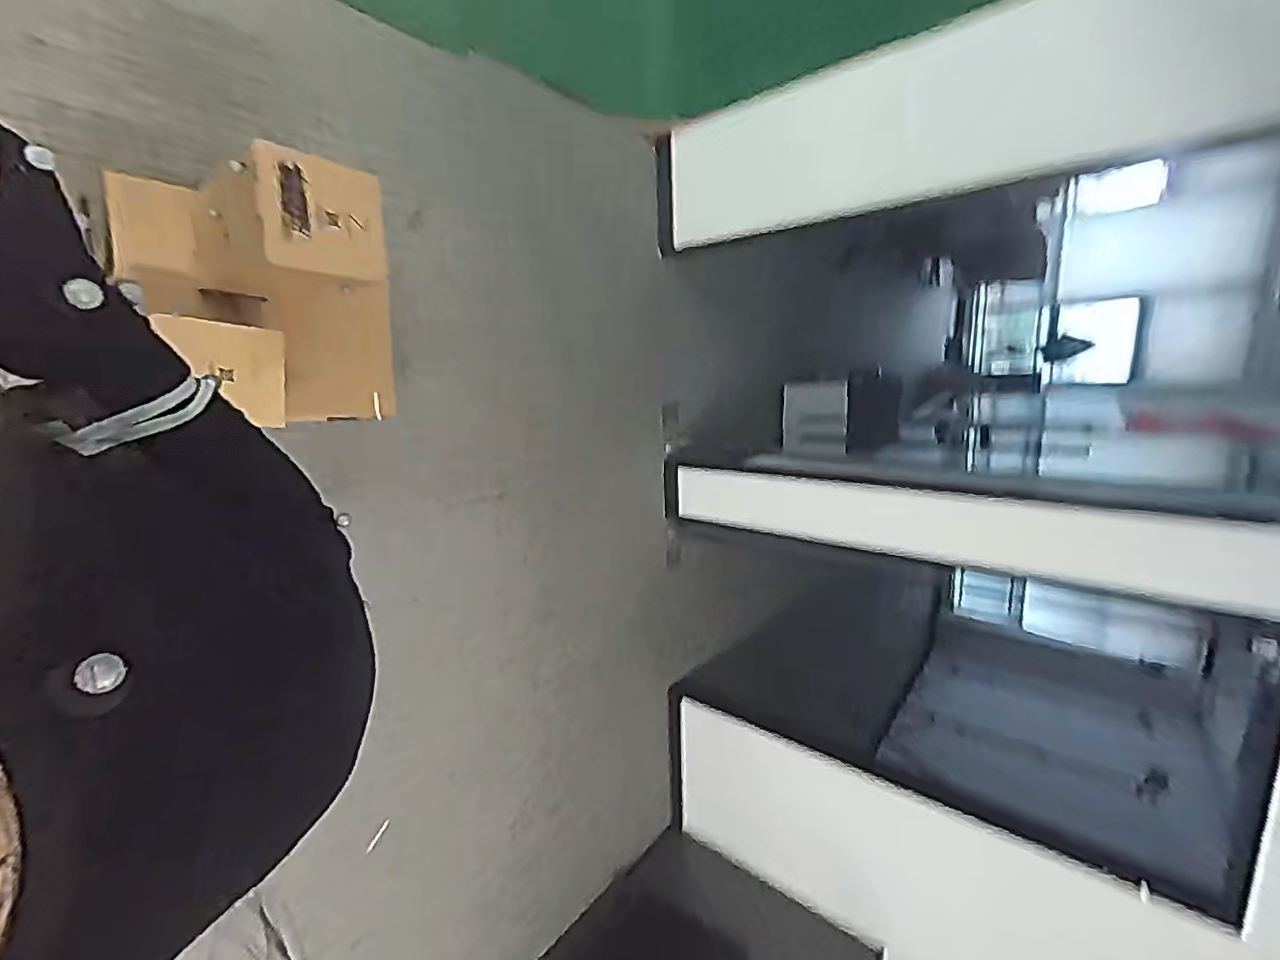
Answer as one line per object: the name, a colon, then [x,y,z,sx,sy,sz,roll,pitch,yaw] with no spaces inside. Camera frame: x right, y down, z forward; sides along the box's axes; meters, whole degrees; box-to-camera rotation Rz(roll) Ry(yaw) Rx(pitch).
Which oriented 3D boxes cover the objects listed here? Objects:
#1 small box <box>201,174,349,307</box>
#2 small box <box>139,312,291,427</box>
small box: [-0.649,-0.412,0.966,0.179,0.176,0.168,-5,99,-53]
small box: [-0.720,-0.179,0.915,0.179,0.176,0.168,-4,101,-52]
